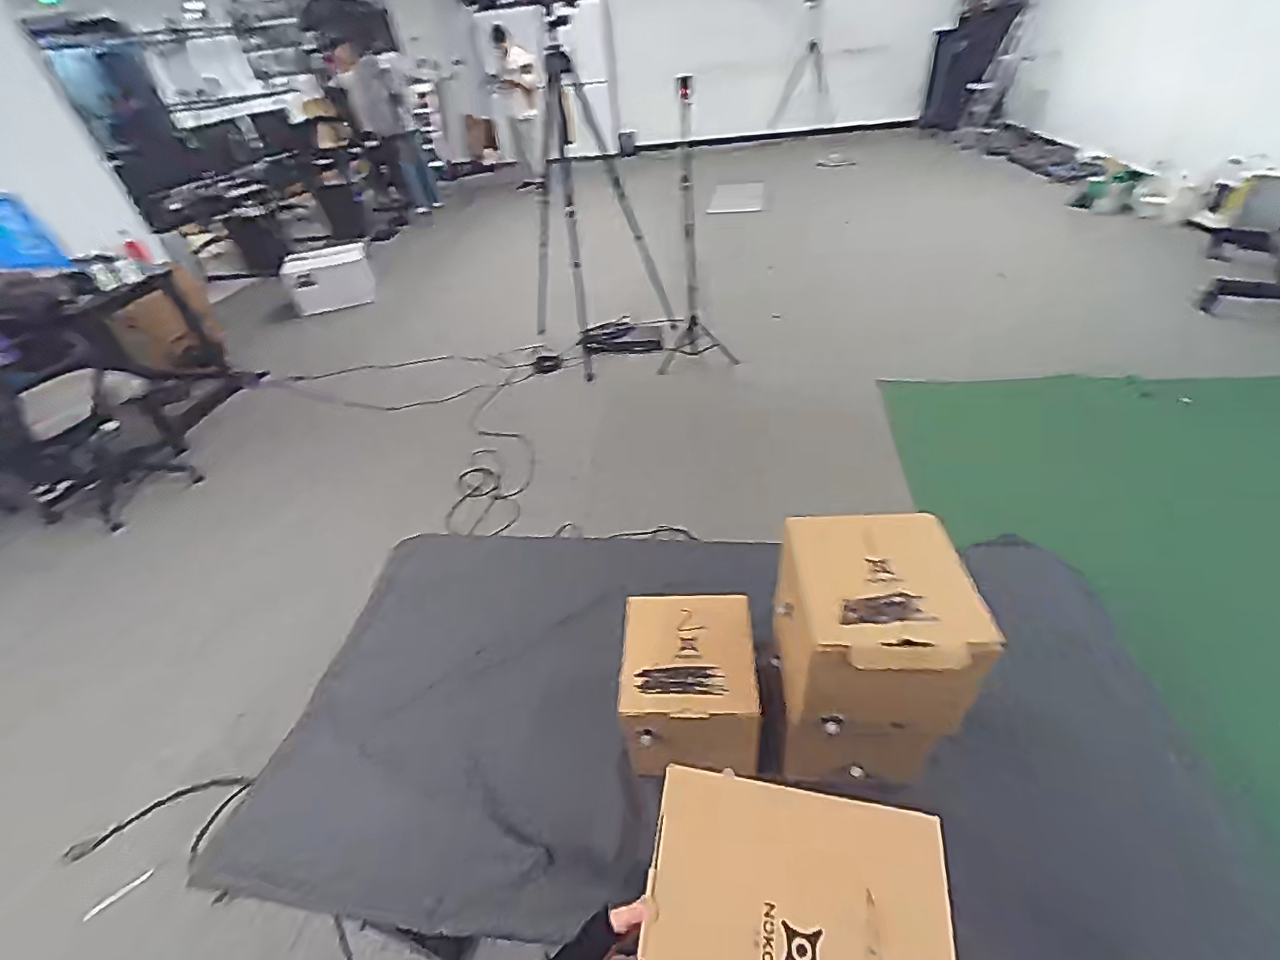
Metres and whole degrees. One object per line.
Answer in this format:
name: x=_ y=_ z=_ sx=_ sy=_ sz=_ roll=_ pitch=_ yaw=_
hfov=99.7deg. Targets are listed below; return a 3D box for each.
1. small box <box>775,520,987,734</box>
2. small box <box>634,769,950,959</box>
small box: x=0.248 y=0.166 z=0.609 sx=0.168 sy=0.176 sz=0.179 roll=-2 pitch=39 yaw=6
small box: x=0.096 y=0.321 z=0.375 sx=0.179 sy=0.176 sz=0.168 roll=6 pitch=55 yaw=12
